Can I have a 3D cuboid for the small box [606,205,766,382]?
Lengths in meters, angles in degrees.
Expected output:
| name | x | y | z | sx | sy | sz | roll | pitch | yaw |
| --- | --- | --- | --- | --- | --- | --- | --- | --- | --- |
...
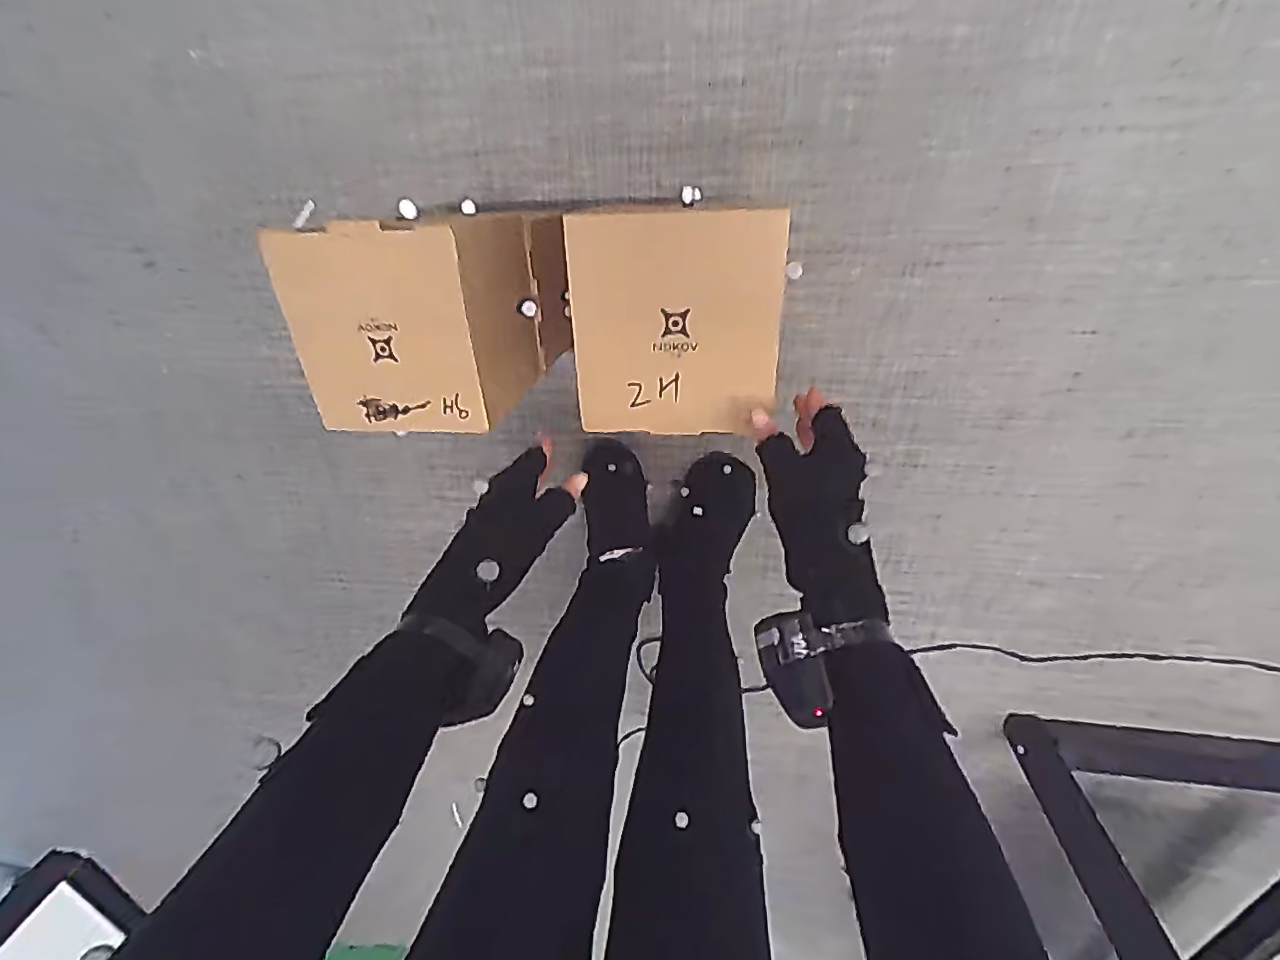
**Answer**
| name | x | y | z | sx | sy | sz | roll | pitch | yaw |
| --- | --- | --- | --- | --- | --- | --- | --- | --- | --- |
| small box | 0.058 | -0.229 | 0.653 | 0.168 | 0.176 | 0.179 | 1 | 118 | 7 |
